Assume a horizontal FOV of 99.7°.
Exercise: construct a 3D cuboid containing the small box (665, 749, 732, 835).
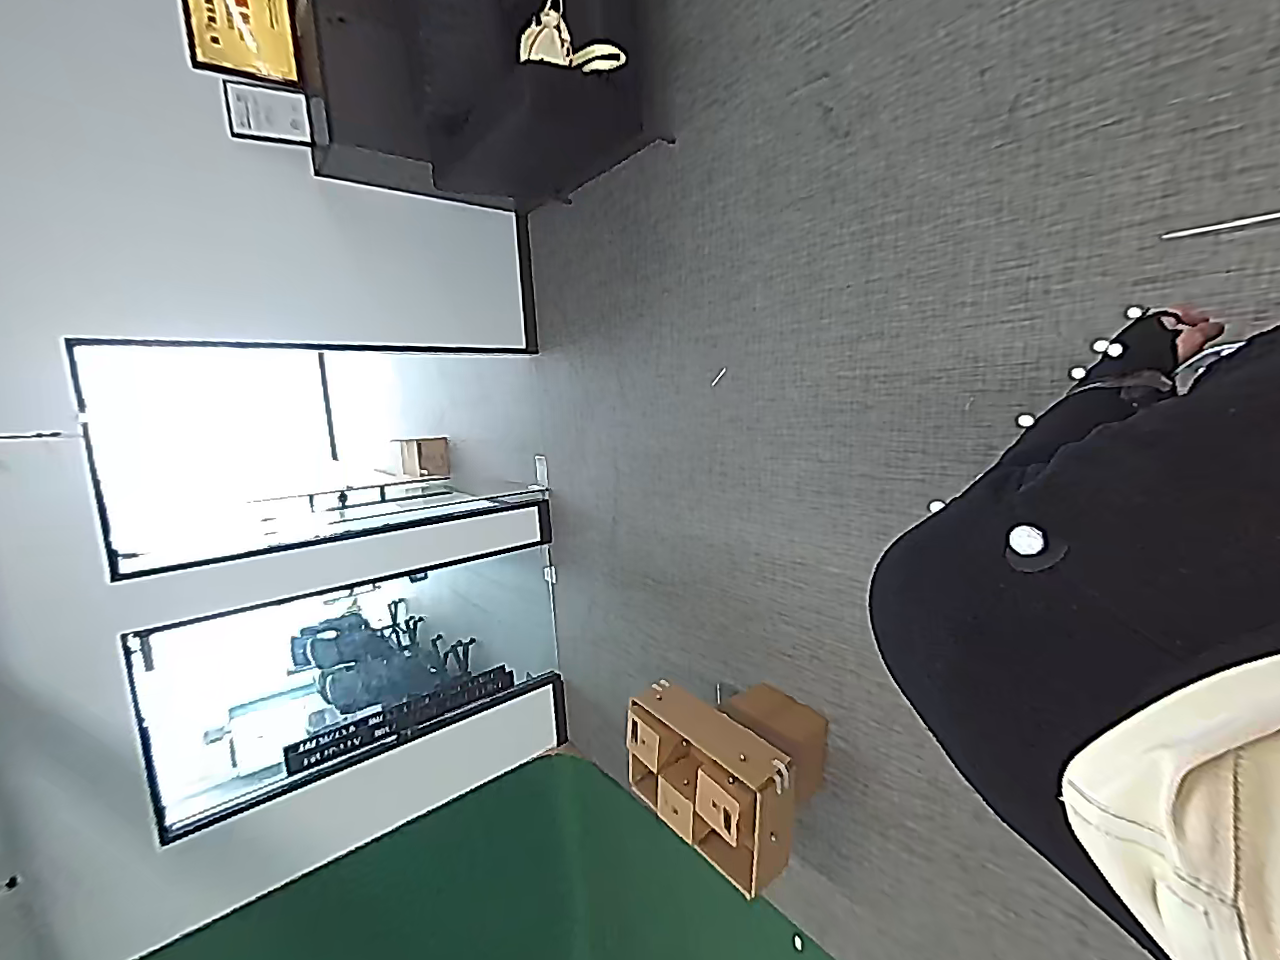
[{"bbox_3d":[0.209,1.088,1.908,0.179,0.176,0.168,15,108,49],"label":"small box"}]
